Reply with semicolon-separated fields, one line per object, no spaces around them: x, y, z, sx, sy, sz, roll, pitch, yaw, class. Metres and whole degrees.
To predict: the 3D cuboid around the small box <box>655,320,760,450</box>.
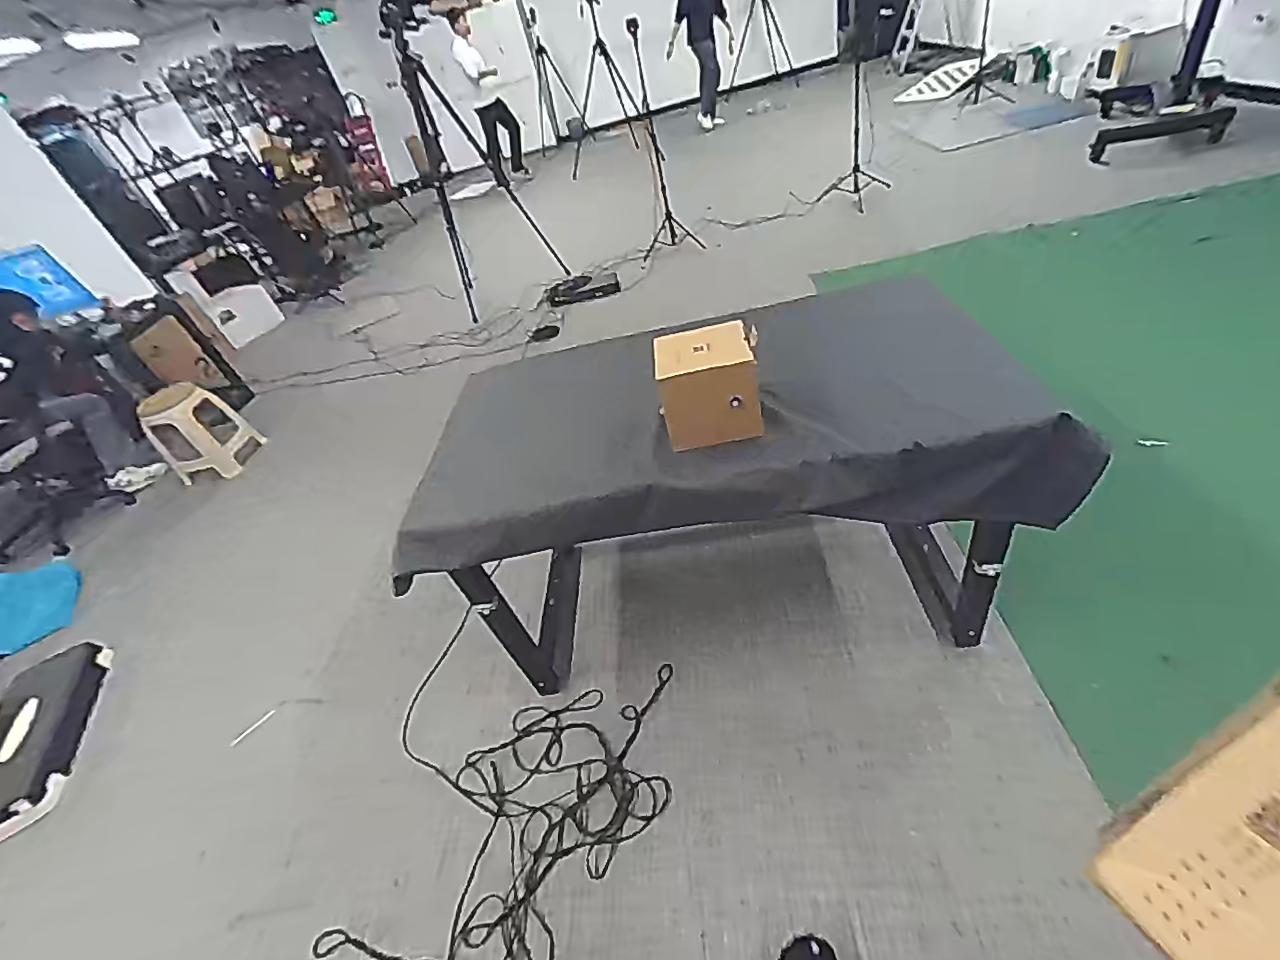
0.132;-0.181;1.045;0.179;0.176;0.168;-11;39;9;small box
